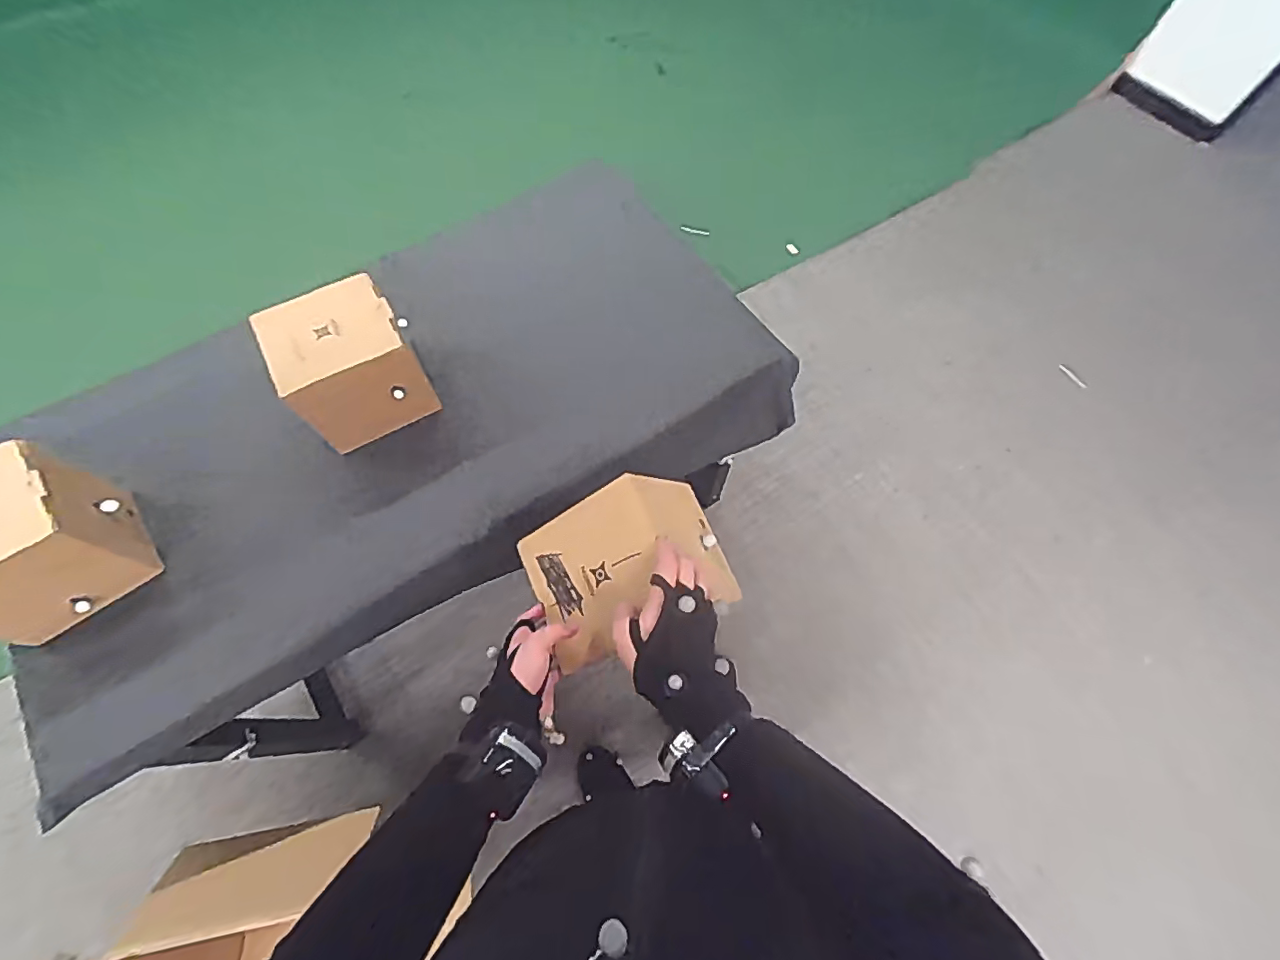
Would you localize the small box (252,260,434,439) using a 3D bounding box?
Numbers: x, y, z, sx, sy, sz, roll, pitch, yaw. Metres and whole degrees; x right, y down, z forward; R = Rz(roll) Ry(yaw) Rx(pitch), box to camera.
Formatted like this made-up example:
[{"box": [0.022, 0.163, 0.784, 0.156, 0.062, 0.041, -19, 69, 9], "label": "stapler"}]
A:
[{"box": [-0.440, -0.194, 0.833, 0.179, 0.176, 0.168, -29, 68, -11], "label": "small box"}]

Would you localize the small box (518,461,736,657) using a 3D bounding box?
[{"box": [-0.011, 0.095, 0.658, 0.179, 0.176, 0.168, -30, 72, 23], "label": "small box"}]

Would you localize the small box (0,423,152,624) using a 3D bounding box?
[{"box": [-0.803, 0.064, 0.712, 0.179, 0.176, 0.168, -36, 71, -16], "label": "small box"}]
